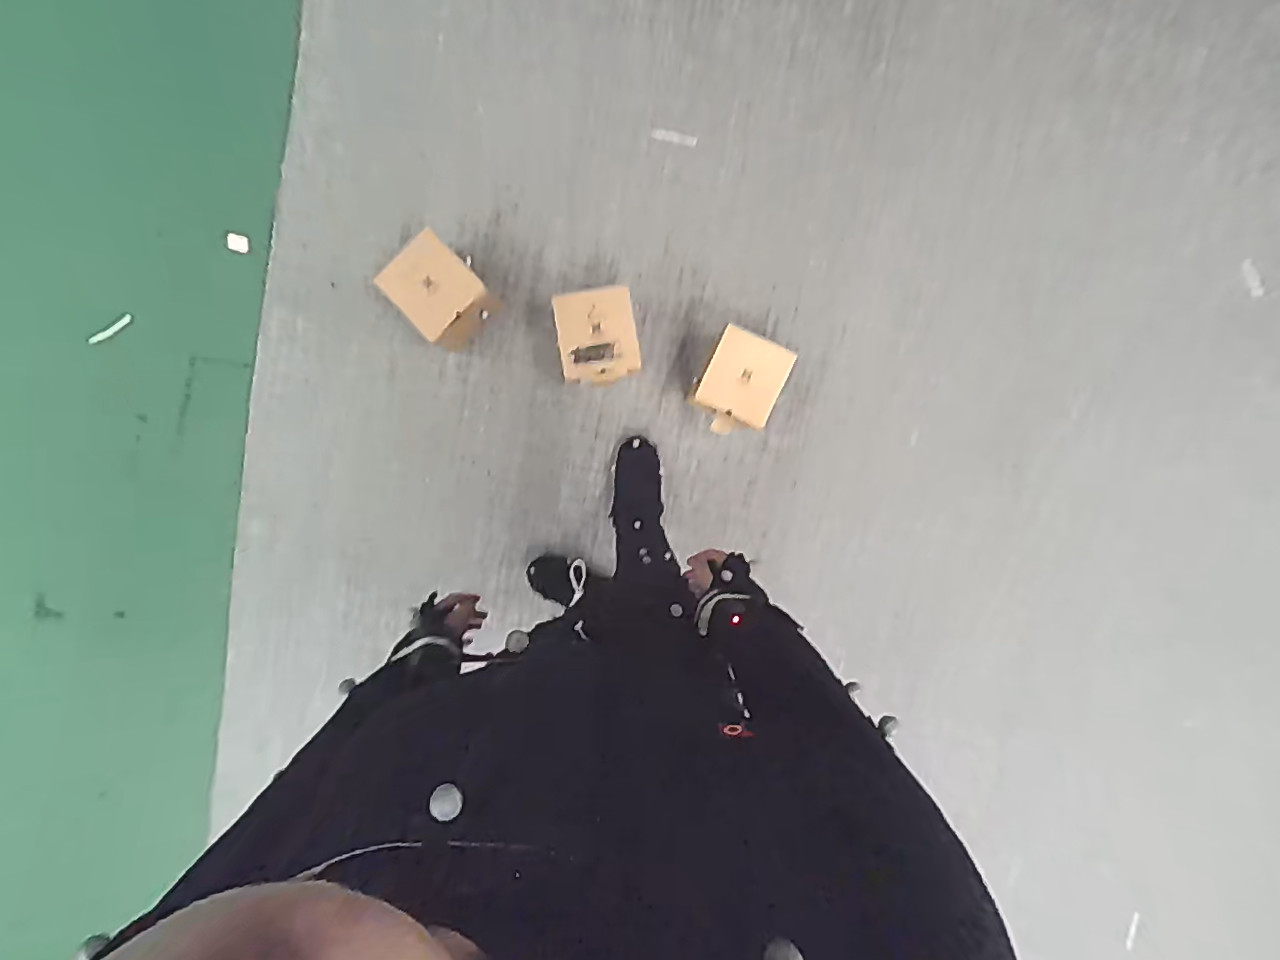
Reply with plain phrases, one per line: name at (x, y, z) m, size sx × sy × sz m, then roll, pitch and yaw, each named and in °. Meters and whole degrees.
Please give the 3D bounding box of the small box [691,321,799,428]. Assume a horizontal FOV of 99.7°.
small box at (0.225, -0.232, 1.216) m, size 0.168 × 0.176 × 0.179 m, roll 24°, pitch 97°, yaw -4°

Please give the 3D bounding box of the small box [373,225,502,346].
small box at (-0.432, -0.412, 1.186) m, size 0.168 × 0.176 × 0.179 m, roll -43°, pitch 95°, yaw 4°
